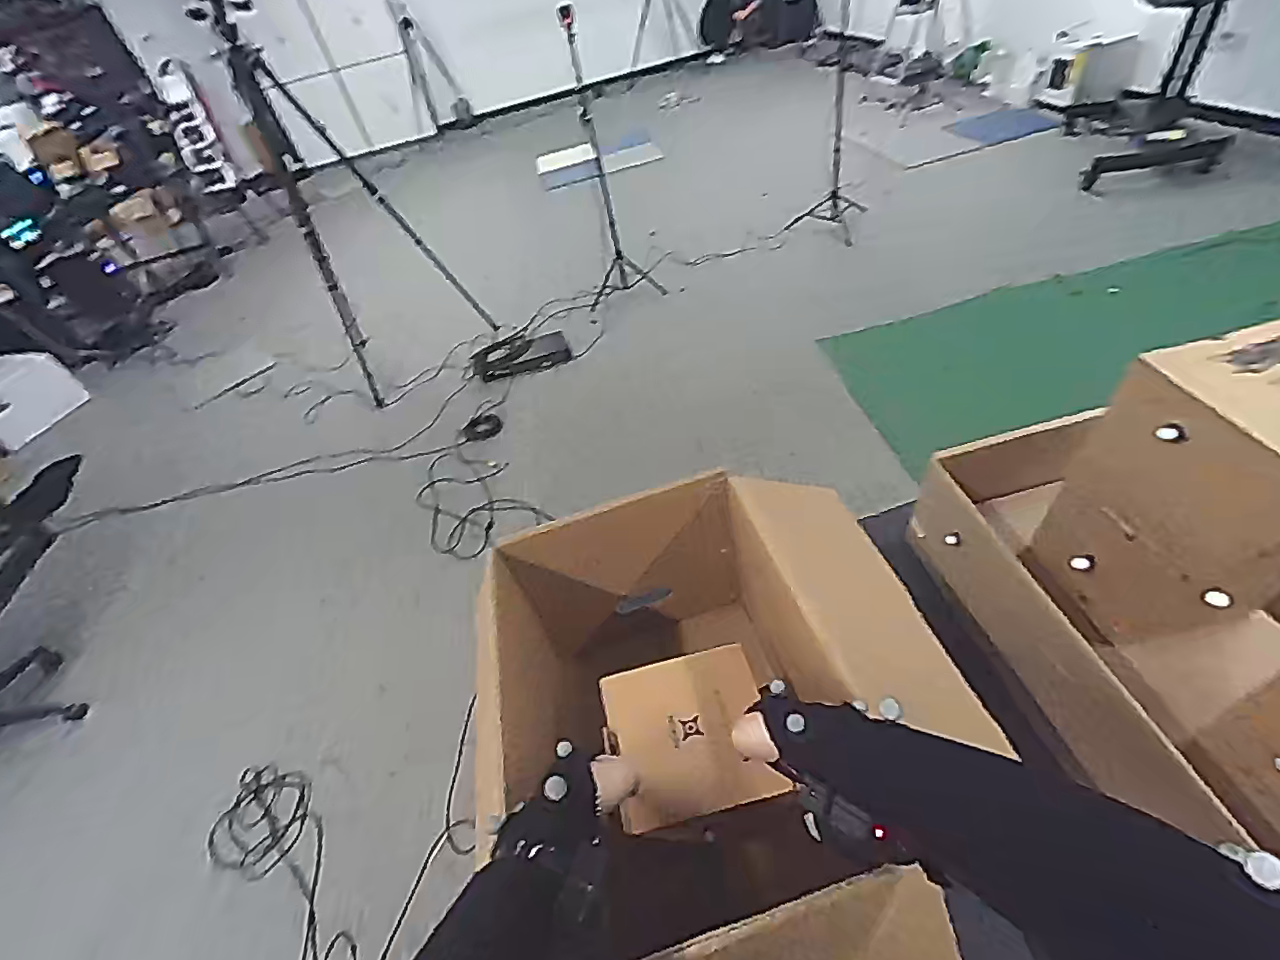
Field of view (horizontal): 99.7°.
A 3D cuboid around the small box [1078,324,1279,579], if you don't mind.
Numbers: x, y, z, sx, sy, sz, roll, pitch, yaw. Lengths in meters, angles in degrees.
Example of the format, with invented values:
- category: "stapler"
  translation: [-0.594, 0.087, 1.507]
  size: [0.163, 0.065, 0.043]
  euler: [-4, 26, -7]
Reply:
- category: "small box"
  translation: [0.613, -0.028, 0.557]
  size: [0.168, 0.176, 0.179]
  euler: [-15, 46, 1]
